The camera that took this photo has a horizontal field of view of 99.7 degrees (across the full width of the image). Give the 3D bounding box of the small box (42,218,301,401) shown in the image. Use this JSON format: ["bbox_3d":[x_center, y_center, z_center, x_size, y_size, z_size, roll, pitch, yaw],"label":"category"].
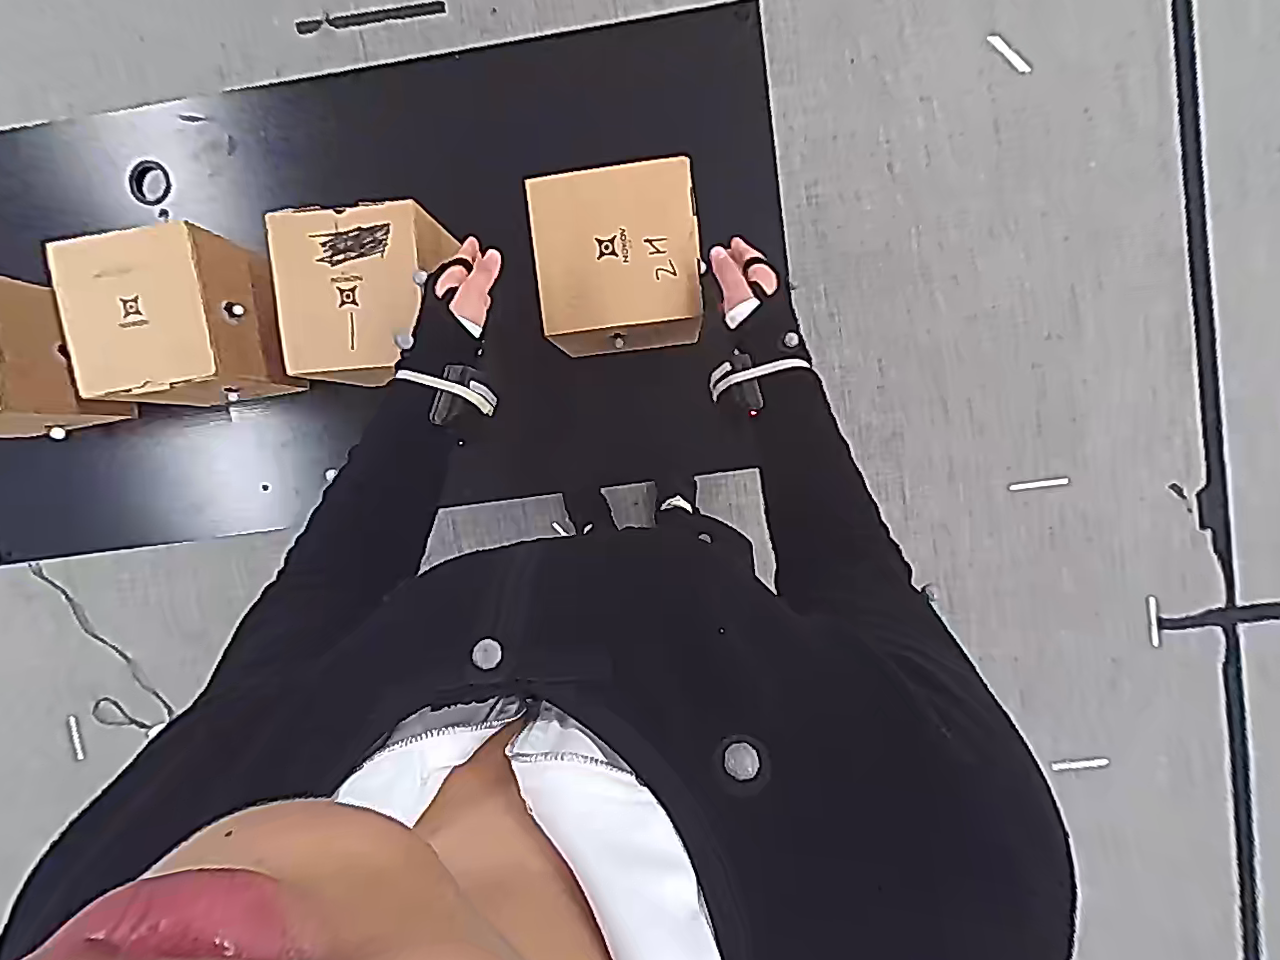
[{"bbox_3d":[-0.563,-0.196,0.678,0.168,0.176,0.179,-9,94,2],"label":"small box"}]

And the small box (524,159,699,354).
[{"bbox_3d":[-0.026,-0.253,0.653,0.179,0.176,0.168,-6,95,3],"label":"small box"}]

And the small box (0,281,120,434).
[{"bbox_3d":[-0.822,-0.151,0.687,0.179,0.176,0.168,-10,94,2],"label":"small box"}]

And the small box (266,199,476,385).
[{"bbox_3d":[-0.315,-0.216,0.666,0.168,0.176,0.179,-4,95,2],"label":"small box"}]
